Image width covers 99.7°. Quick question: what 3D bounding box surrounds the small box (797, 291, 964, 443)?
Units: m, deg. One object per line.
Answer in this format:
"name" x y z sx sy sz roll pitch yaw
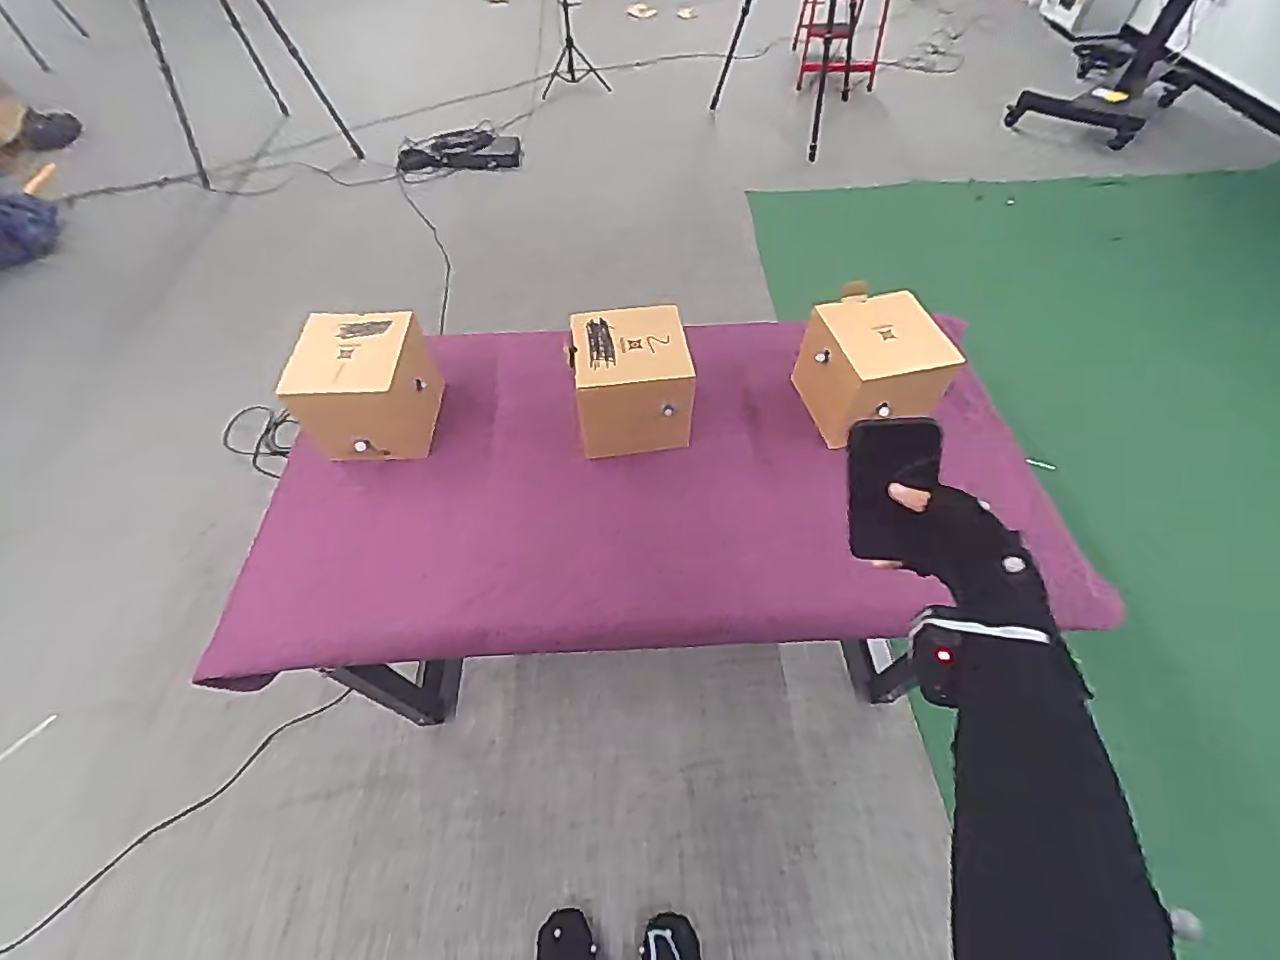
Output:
"small box" 0.379 -0.176 0.888 0.168 0.176 0.179 -11 56 -6

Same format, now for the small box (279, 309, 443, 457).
"small box" -0.435 -0.156 0.881 0.168 0.176 0.179 -1 57 0
